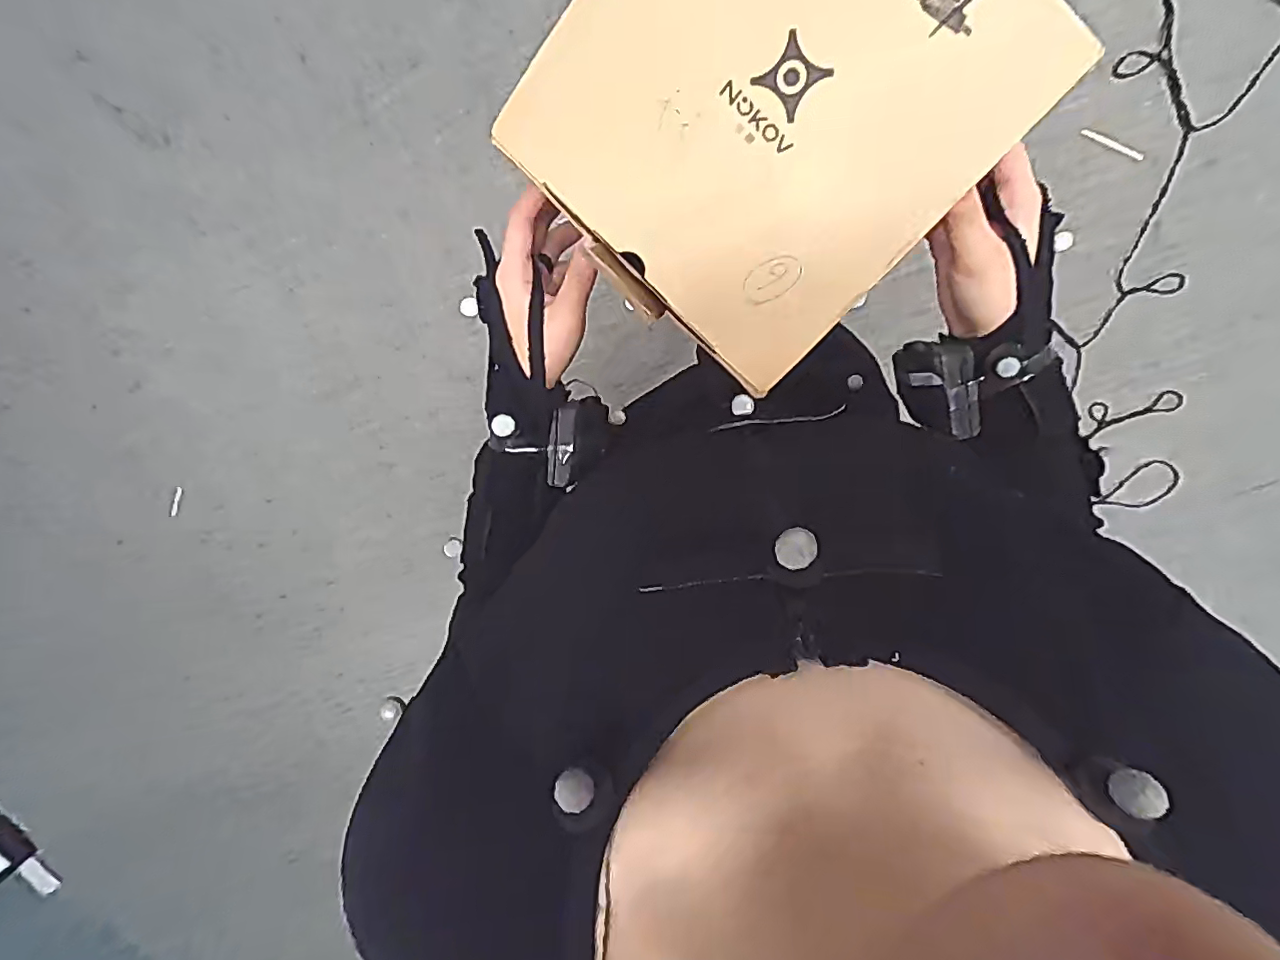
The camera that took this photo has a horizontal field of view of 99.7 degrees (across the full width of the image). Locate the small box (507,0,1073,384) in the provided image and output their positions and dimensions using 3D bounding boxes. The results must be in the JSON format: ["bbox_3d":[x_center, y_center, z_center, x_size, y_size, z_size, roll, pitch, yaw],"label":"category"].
[{"bbox_3d":[0.065,-0.178,0.302,0.168,0.176,0.179,42,107,-6],"label":"small box"}]
